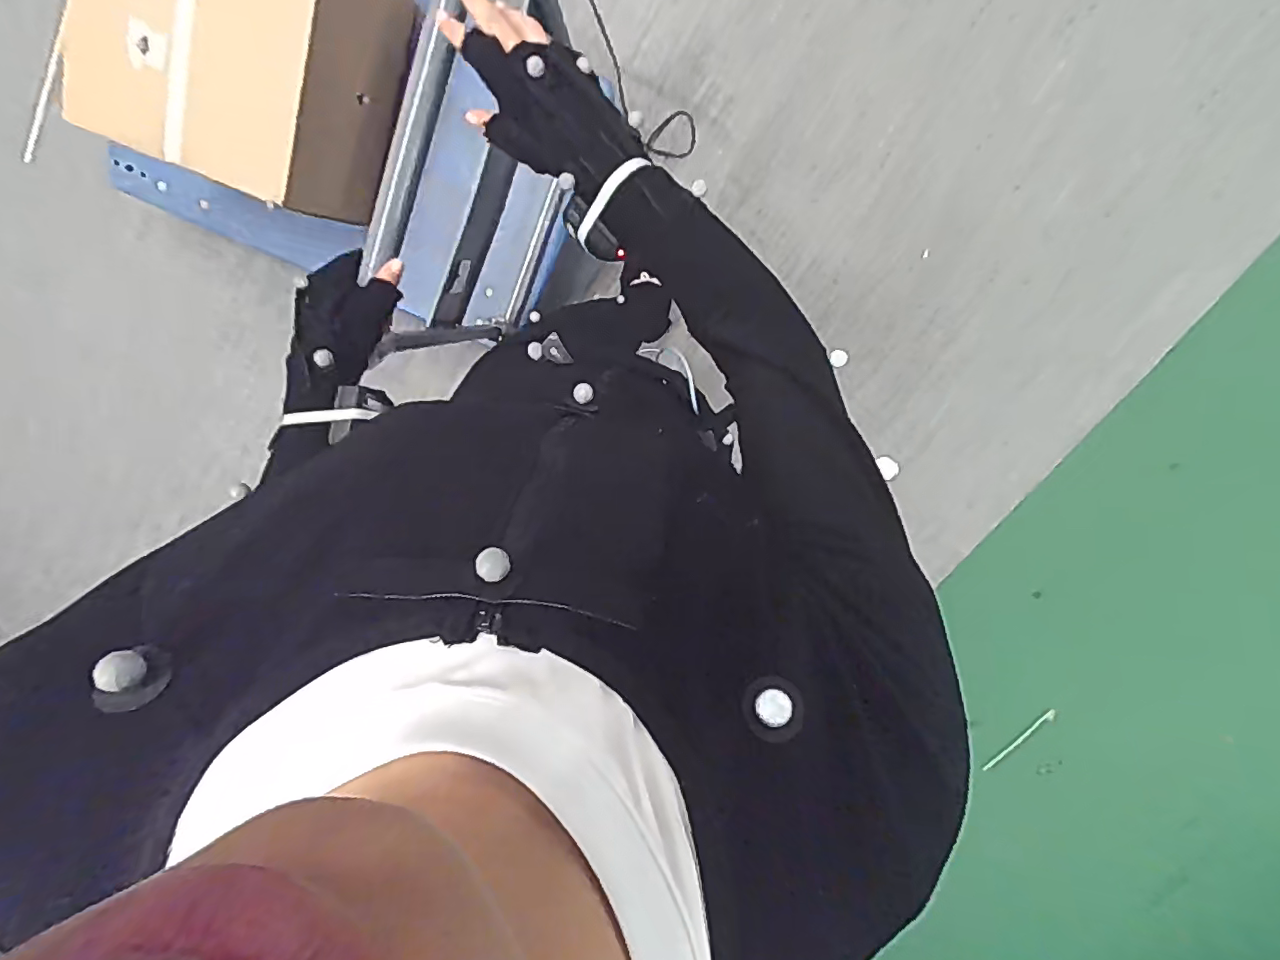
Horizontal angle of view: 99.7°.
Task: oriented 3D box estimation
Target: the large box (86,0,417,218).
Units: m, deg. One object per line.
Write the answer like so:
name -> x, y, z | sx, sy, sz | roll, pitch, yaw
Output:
large box -> -0.607, -0.708, 0.891 | 0.320, 0.320, 0.408 | 20, 109, -8
